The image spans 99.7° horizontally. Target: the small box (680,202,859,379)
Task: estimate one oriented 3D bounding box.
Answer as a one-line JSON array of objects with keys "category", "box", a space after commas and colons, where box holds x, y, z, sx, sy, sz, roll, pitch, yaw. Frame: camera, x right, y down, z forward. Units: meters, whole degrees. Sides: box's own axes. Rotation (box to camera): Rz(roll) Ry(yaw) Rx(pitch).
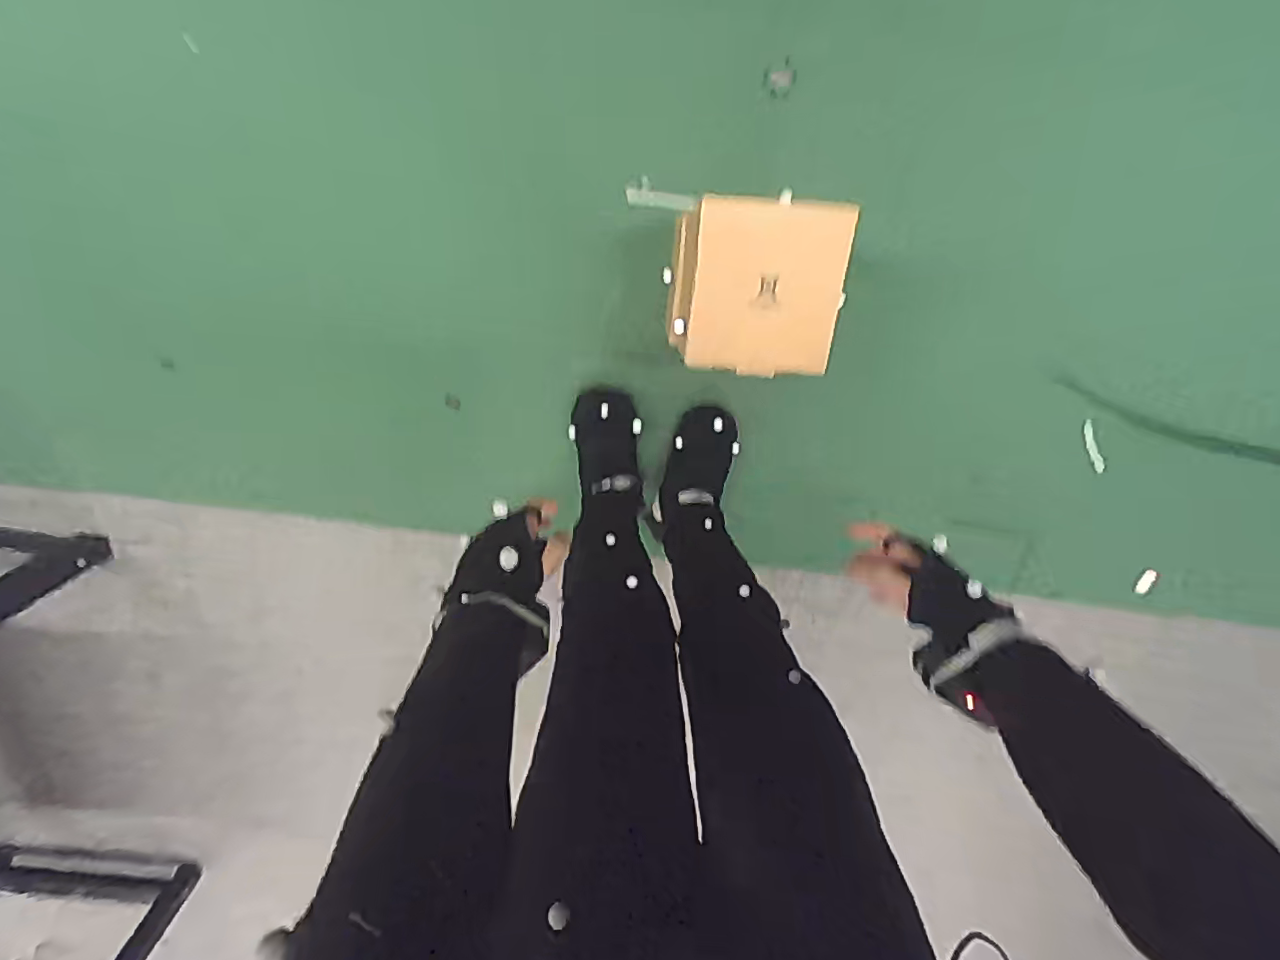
[{"category": "small box", "box": [0.142, -0.234, 0.667, 0.168, 0.176, 0.179, 4, 114, -2]}]
